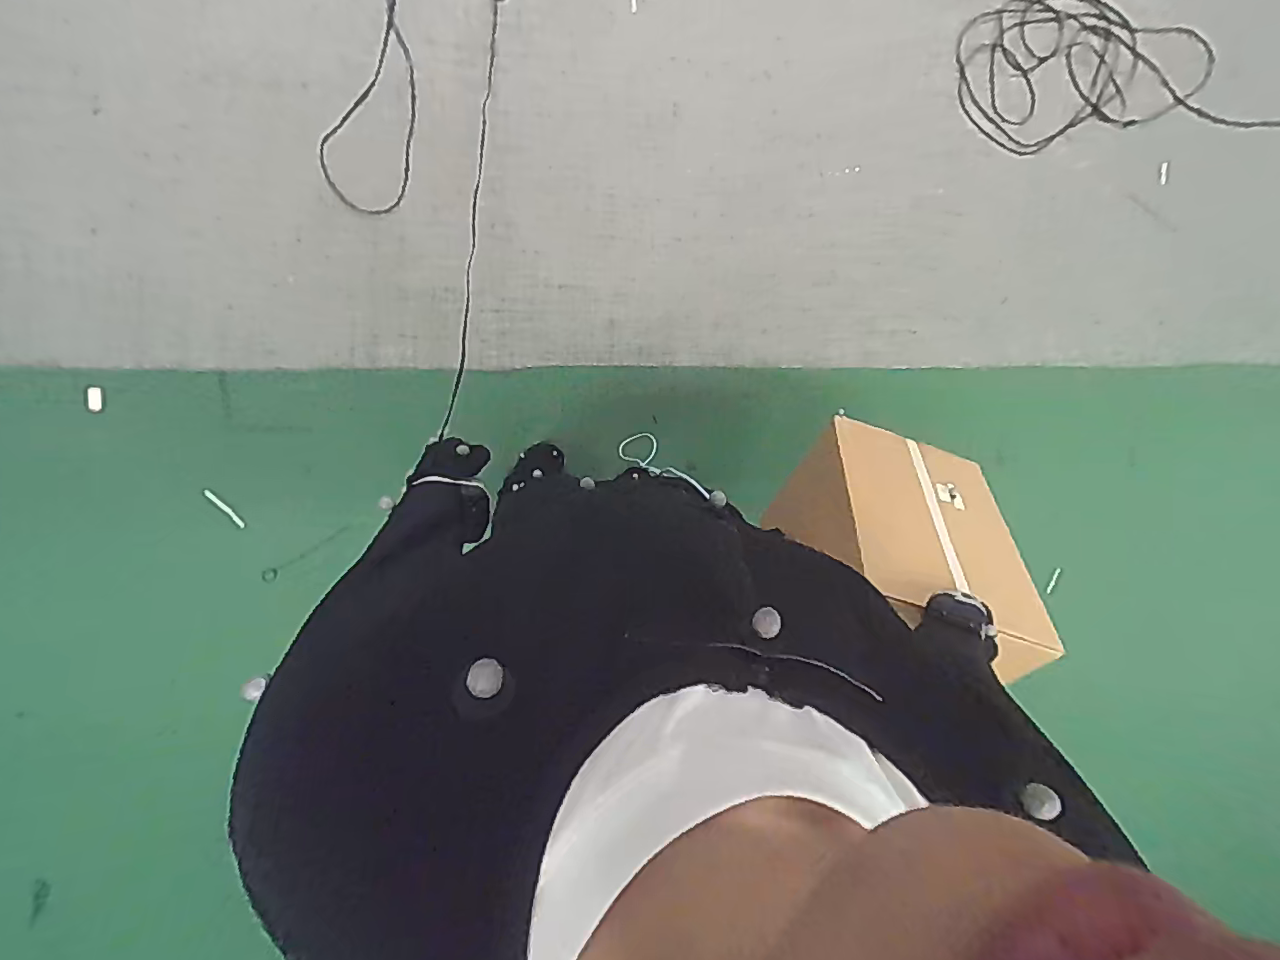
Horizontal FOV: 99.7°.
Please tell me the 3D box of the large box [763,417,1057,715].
[{"bbox_3d":[0.438,0.157,1.002,0.320,0.408,0.320,18,133,-7],"label":"large box"}]
